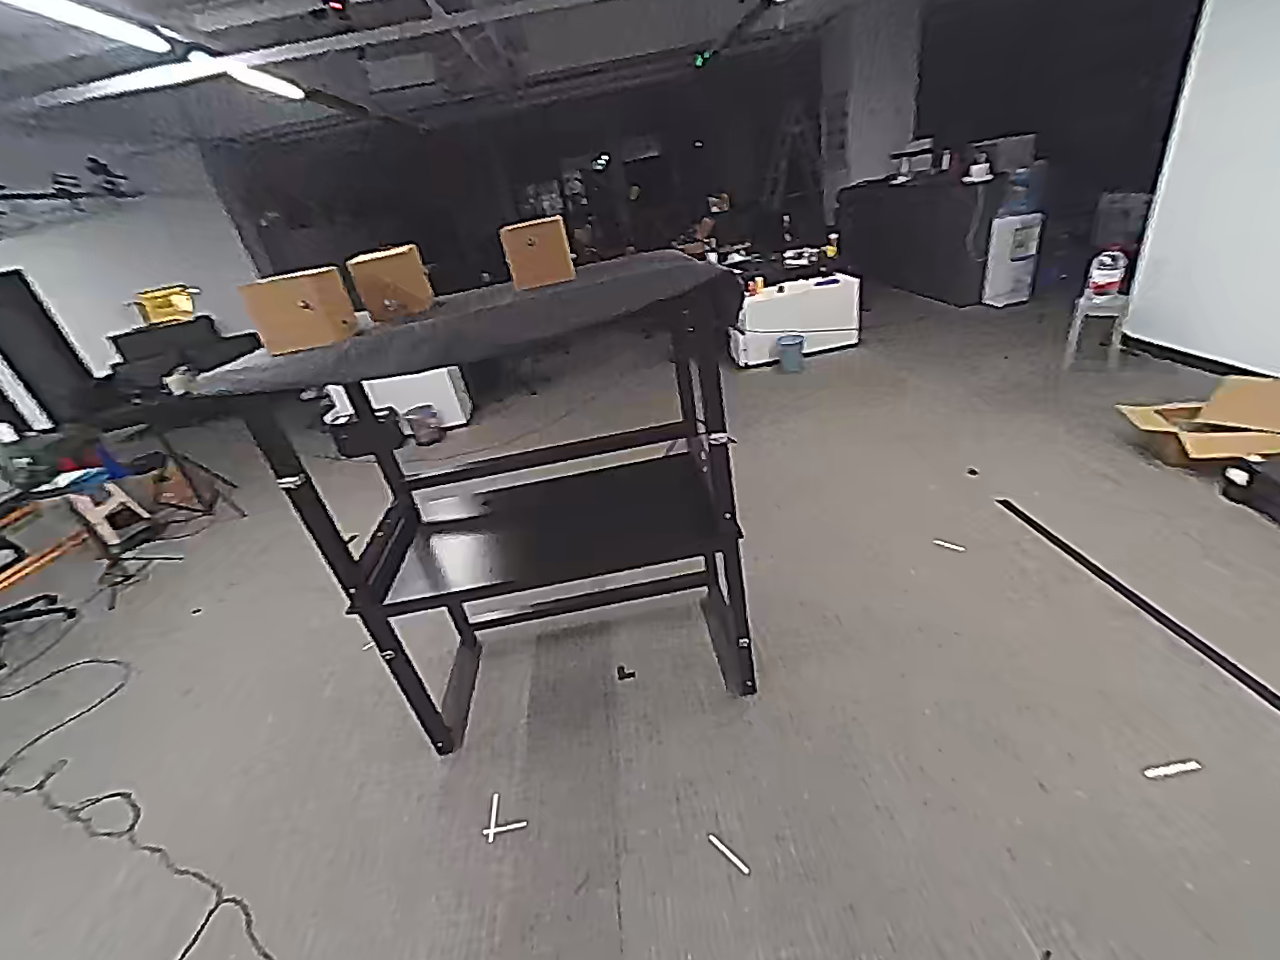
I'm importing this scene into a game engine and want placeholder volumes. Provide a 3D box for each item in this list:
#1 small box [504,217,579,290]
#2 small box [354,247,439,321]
[{"bbox_3d":[-0.291,-0.680,1.624,0.179,0.176,0.168,-11,30,0],"label":"small box"},{"bbox_3d":[-0.713,-0.583,1.607,0.168,0.176,0.179,-16,29,-5],"label":"small box"}]
